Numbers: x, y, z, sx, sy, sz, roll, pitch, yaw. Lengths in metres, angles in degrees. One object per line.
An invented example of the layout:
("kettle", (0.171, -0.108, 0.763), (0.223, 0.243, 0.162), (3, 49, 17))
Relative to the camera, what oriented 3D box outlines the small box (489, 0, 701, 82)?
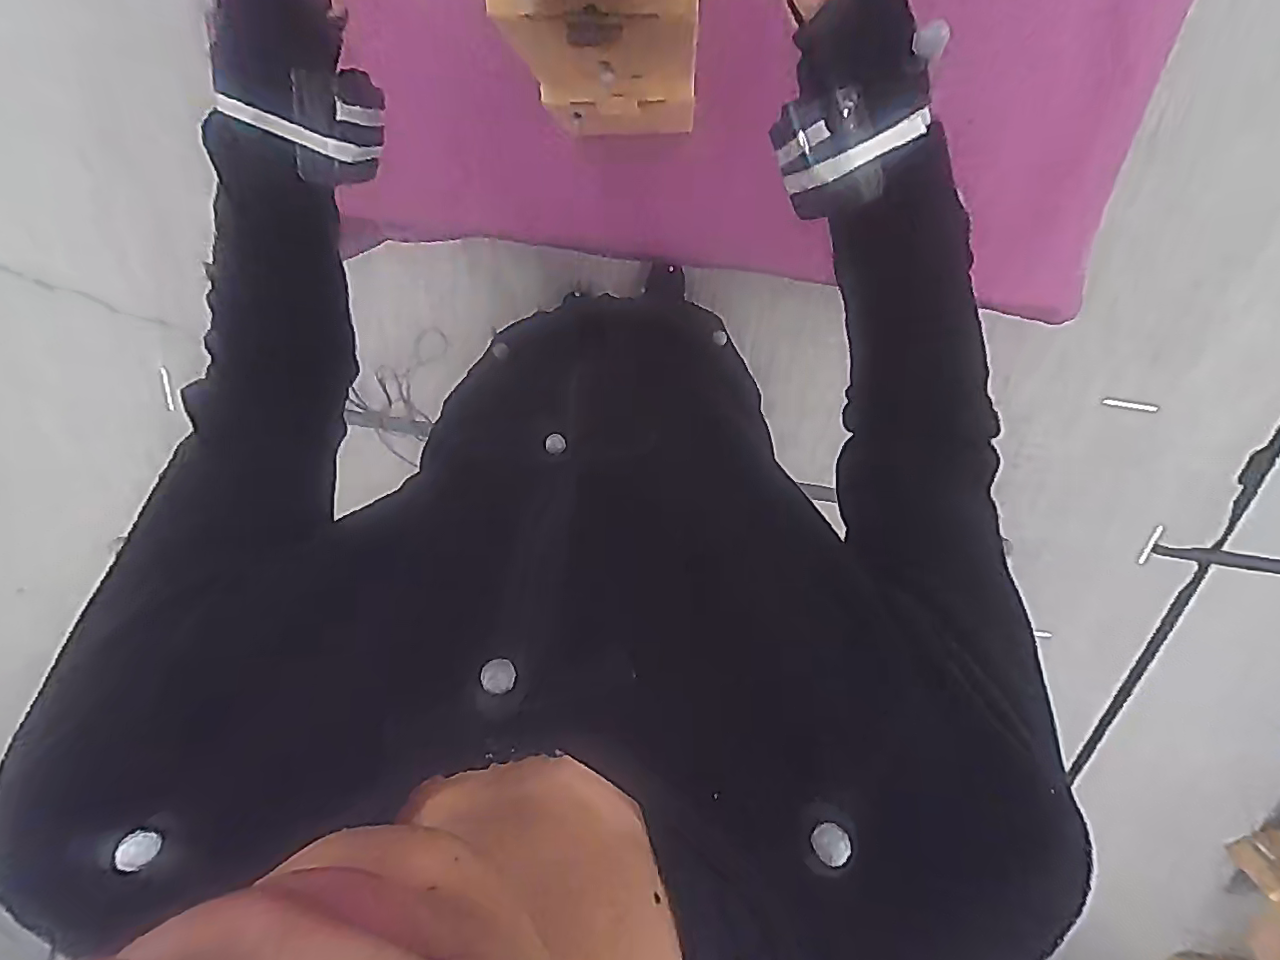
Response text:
("small box", (-0.029, -0.467, 0.456), (0.168, 0.176, 0.179), (3, 112, 4))
